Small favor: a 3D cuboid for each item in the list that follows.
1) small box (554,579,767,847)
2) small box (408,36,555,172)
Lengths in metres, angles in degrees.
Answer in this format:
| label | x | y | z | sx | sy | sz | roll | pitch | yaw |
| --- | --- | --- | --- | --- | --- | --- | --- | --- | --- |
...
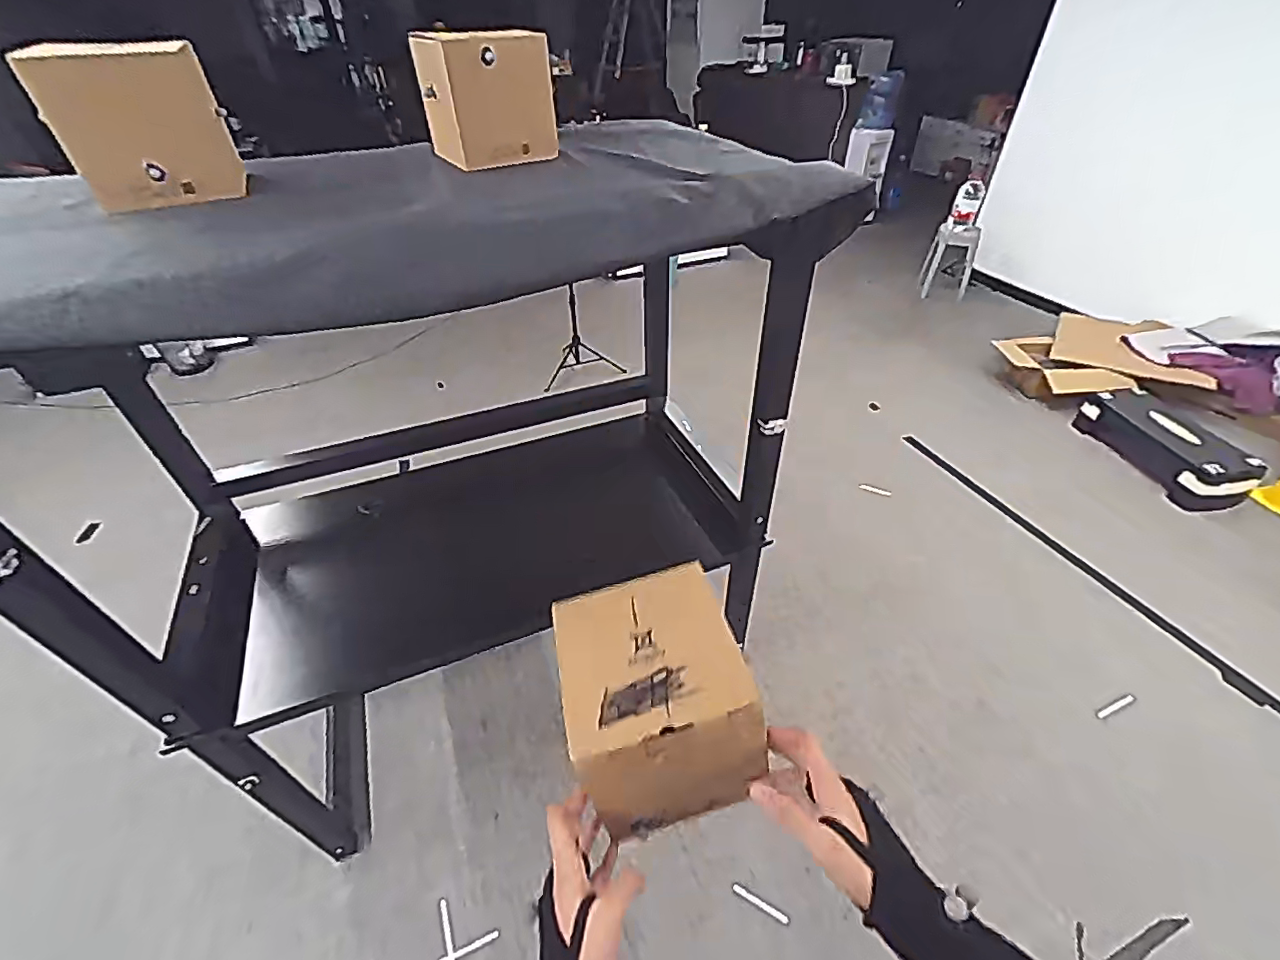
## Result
| label | x | y | z | sx | sy | sz | roll | pitch | yaw |
| --- | --- | --- | --- | --- | --- | --- | --- | --- | --- |
| small box | 0.020 | 0.238 | 0.551 | 0.168 | 0.176 | 0.179 | -16 | 34 | -5 |
| small box | -0.256 | -0.618 | 0.888 | 0.168 | 0.176 | 0.179 | -24 | 46 | -23 |
